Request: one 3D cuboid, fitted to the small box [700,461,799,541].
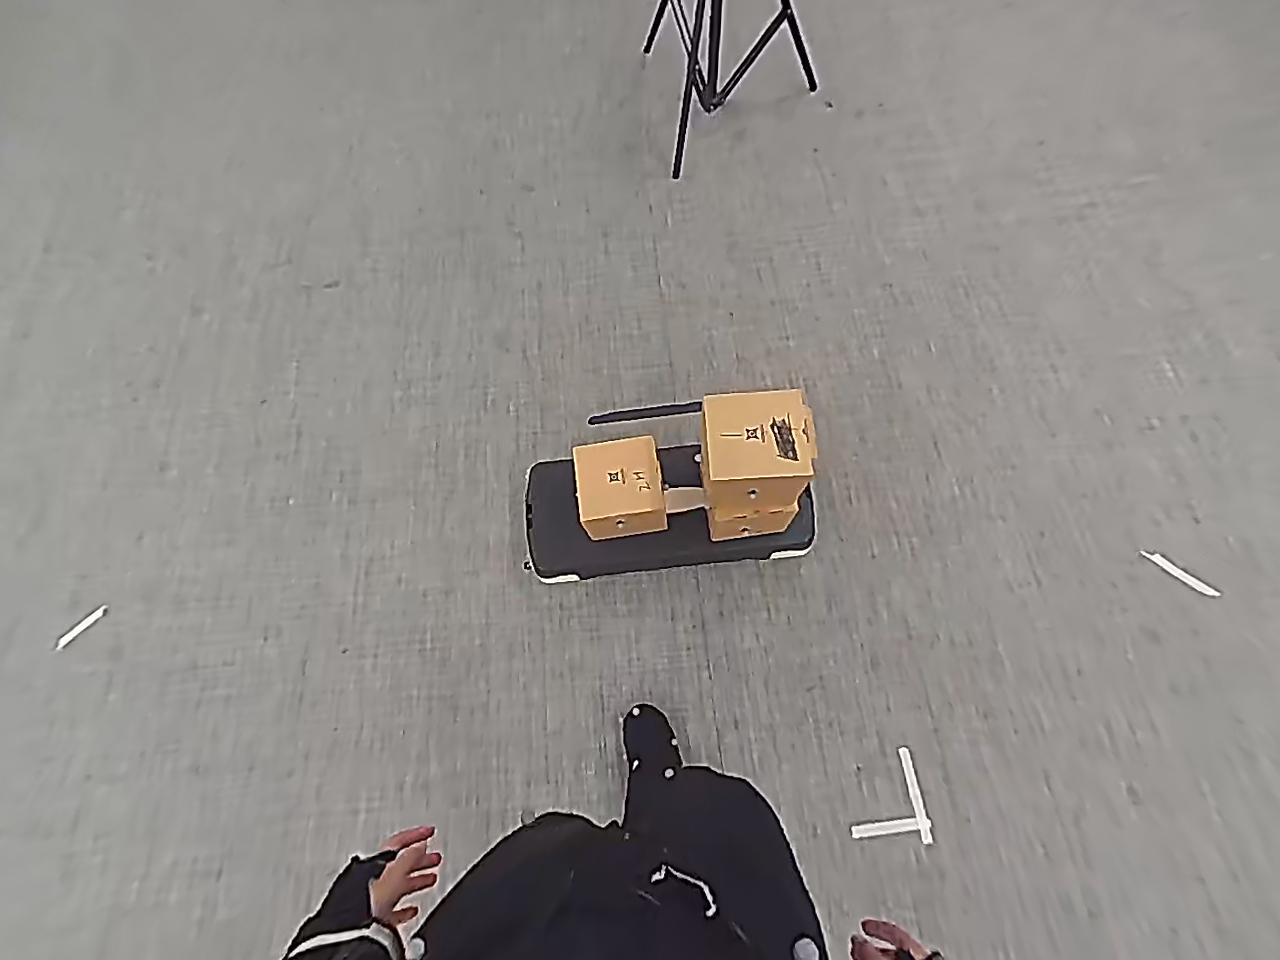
[{"bbox_3d":[0.225,0.019,1.164,0.168,0.176,0.179,-8,71,1],"label":"small box"}]

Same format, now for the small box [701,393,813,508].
[{"bbox_3d":[0.209,-0.049,1.014,0.179,0.176,0.168,-3,70,4],"label":"small box"}]
